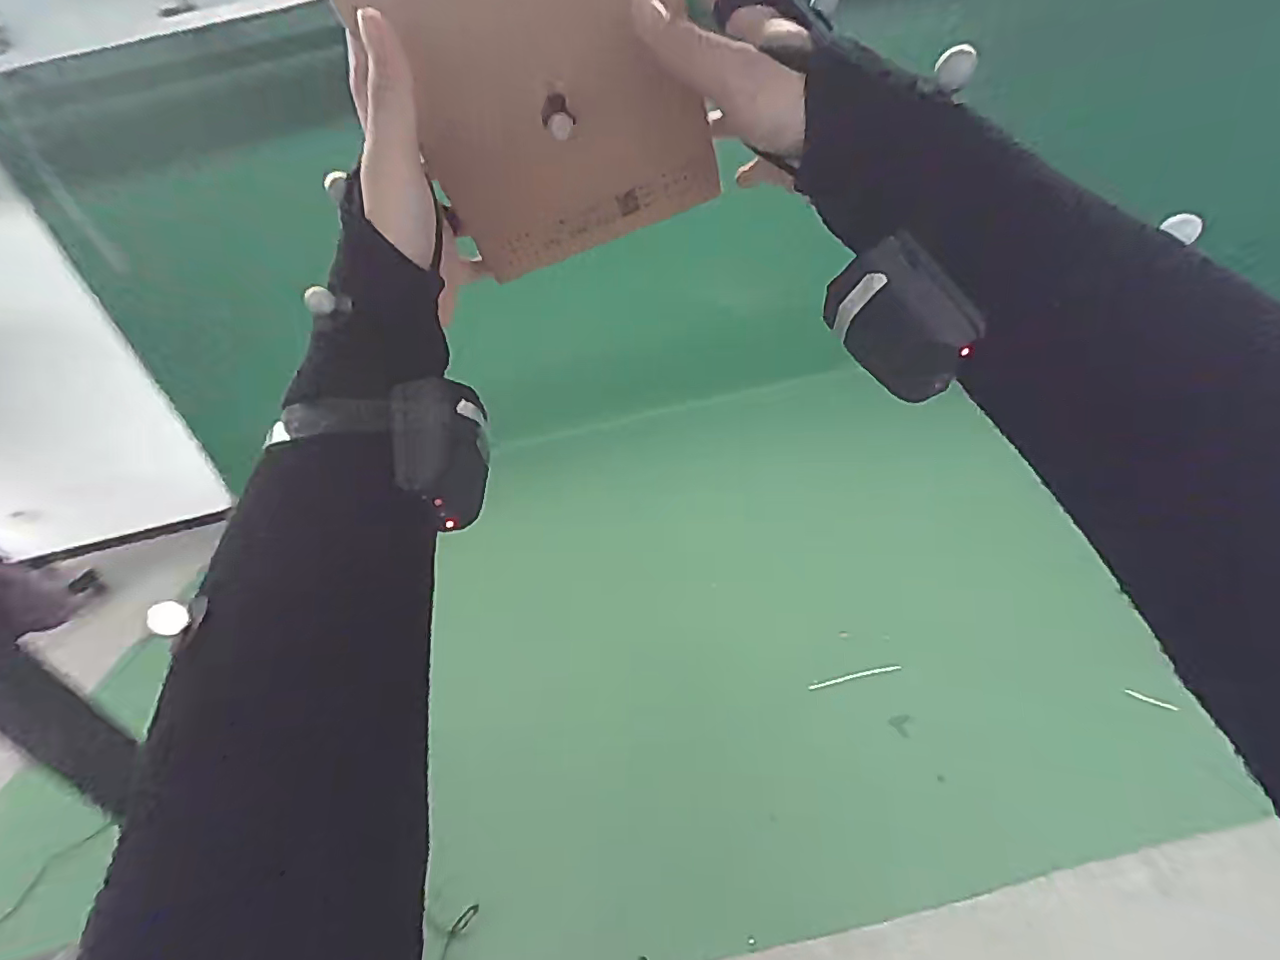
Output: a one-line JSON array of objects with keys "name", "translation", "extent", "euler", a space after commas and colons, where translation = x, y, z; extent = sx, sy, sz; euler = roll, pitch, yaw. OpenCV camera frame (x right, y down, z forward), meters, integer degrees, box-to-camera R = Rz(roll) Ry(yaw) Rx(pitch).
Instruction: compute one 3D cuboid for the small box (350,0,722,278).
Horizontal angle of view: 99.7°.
[{"name": "small box", "translation": [-0.053, -0.264, 0.367], "extent": [0.168, 0.176, 0.179], "euler": [-18, 49, 10]}]
